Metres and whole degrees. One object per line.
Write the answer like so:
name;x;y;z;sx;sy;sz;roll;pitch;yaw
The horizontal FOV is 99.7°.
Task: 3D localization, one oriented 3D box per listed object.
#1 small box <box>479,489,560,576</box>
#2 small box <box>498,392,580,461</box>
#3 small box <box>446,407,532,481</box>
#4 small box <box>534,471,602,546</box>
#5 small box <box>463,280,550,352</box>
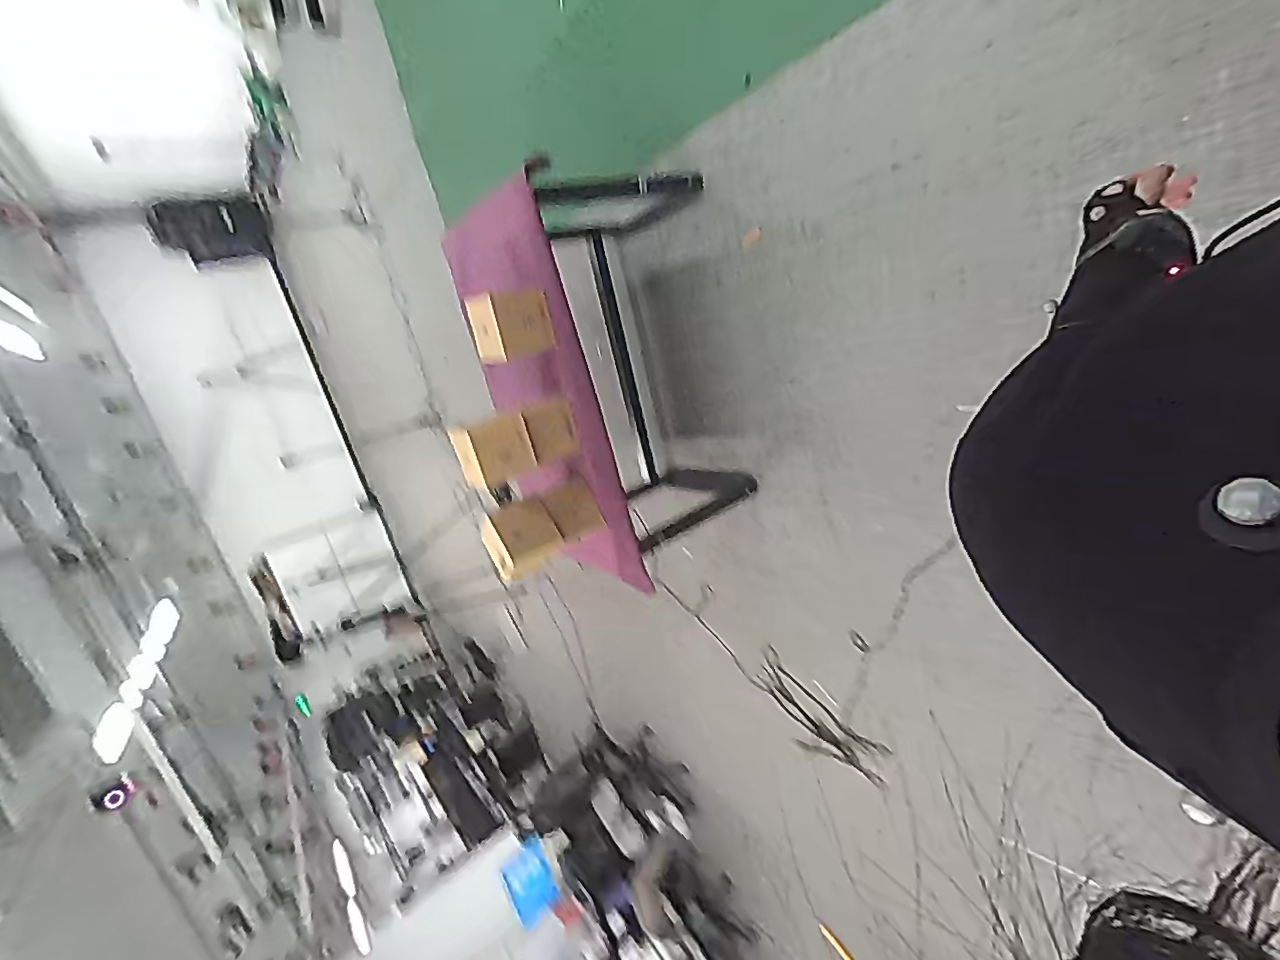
small box;-0.363;0.156;1.629;0.179;0.176;0.168;57;146;15
small box;-0.309;-0.167;1.650;0.179;0.176;0.168;10;120;52
small box;-0.424;-0.109;1.549;0.179;0.176;0.168;10;120;54
small box;-0.246;0.095;1.729;0.179;0.176;0.168;62;147;5
small box;-0.371;-0.465;1.539;0.179;0.176;0.168;15;122;50
